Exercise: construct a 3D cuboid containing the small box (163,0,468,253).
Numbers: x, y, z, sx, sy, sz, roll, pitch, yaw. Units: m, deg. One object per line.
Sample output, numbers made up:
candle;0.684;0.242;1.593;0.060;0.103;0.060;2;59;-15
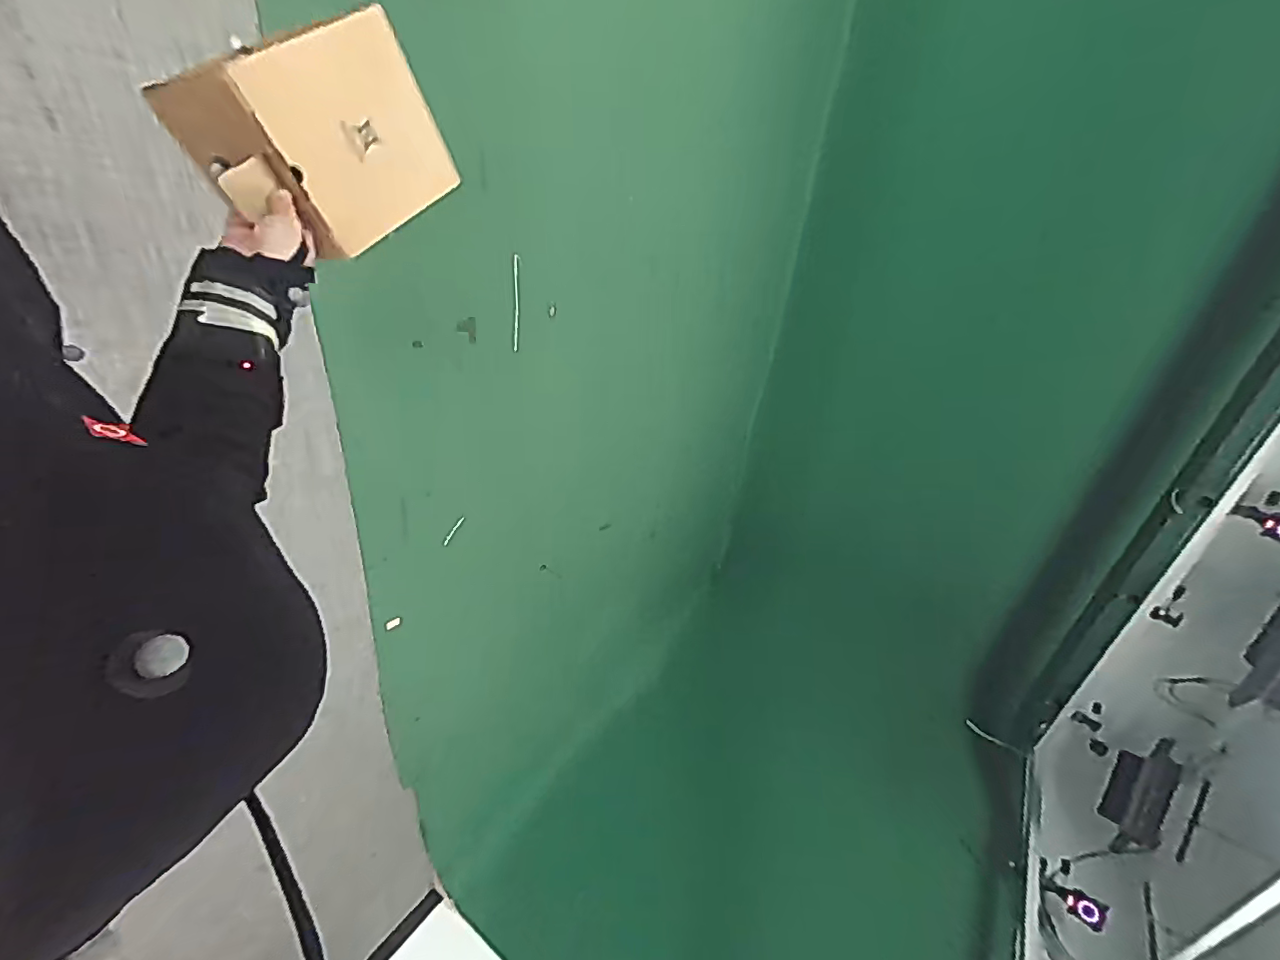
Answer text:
small box;-0.322;-0.359;0.556;0.179;0.176;0.168;-55;146;-27
